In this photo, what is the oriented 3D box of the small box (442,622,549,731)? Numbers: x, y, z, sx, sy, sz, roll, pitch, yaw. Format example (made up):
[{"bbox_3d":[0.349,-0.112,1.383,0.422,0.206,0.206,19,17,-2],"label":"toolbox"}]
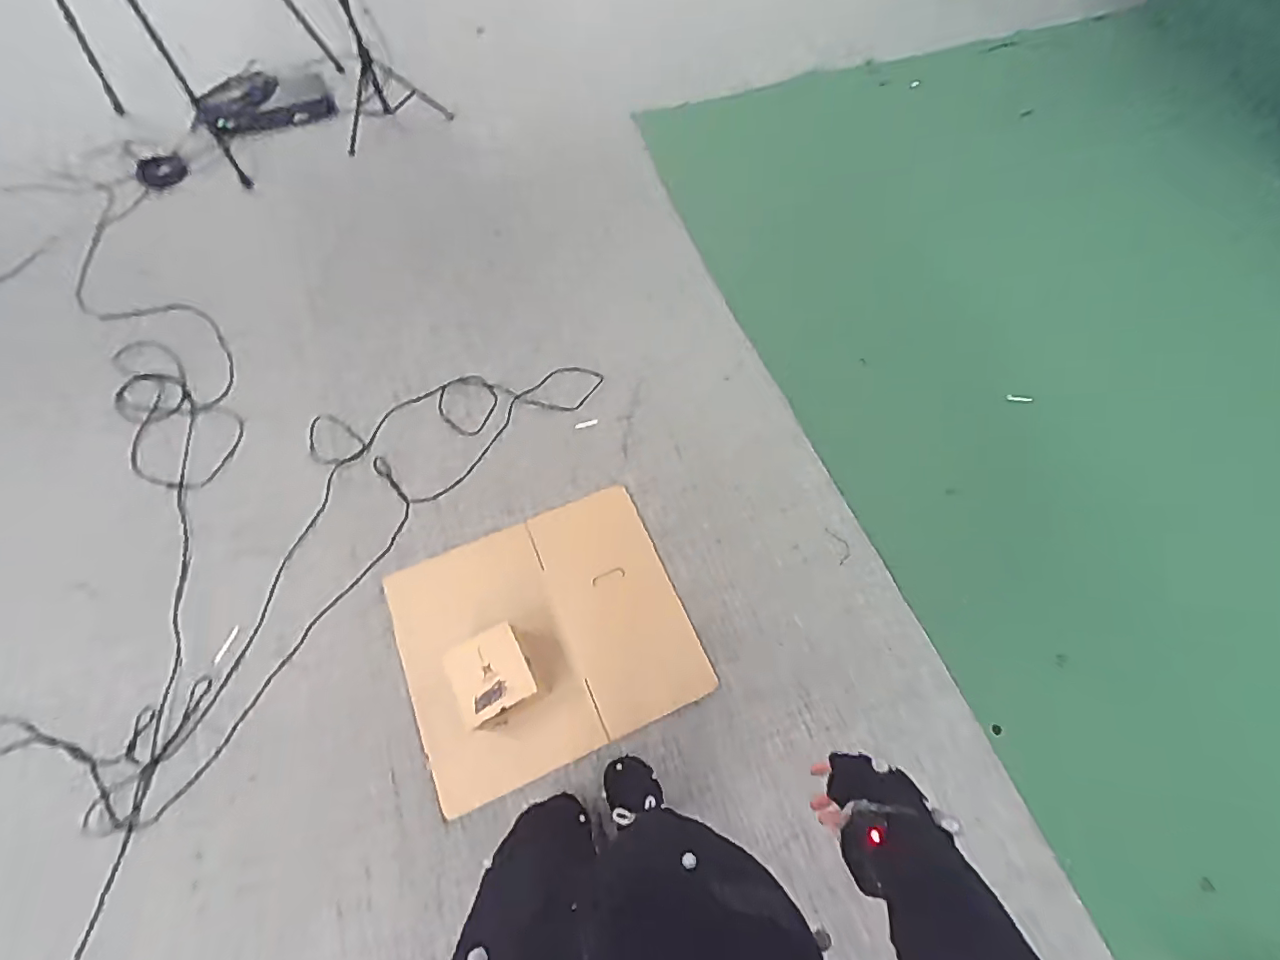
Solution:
[{"bbox_3d":[-0.326,0.455,1.249,0.168,0.176,0.179,-27,68,-12],"label":"small box"}]
